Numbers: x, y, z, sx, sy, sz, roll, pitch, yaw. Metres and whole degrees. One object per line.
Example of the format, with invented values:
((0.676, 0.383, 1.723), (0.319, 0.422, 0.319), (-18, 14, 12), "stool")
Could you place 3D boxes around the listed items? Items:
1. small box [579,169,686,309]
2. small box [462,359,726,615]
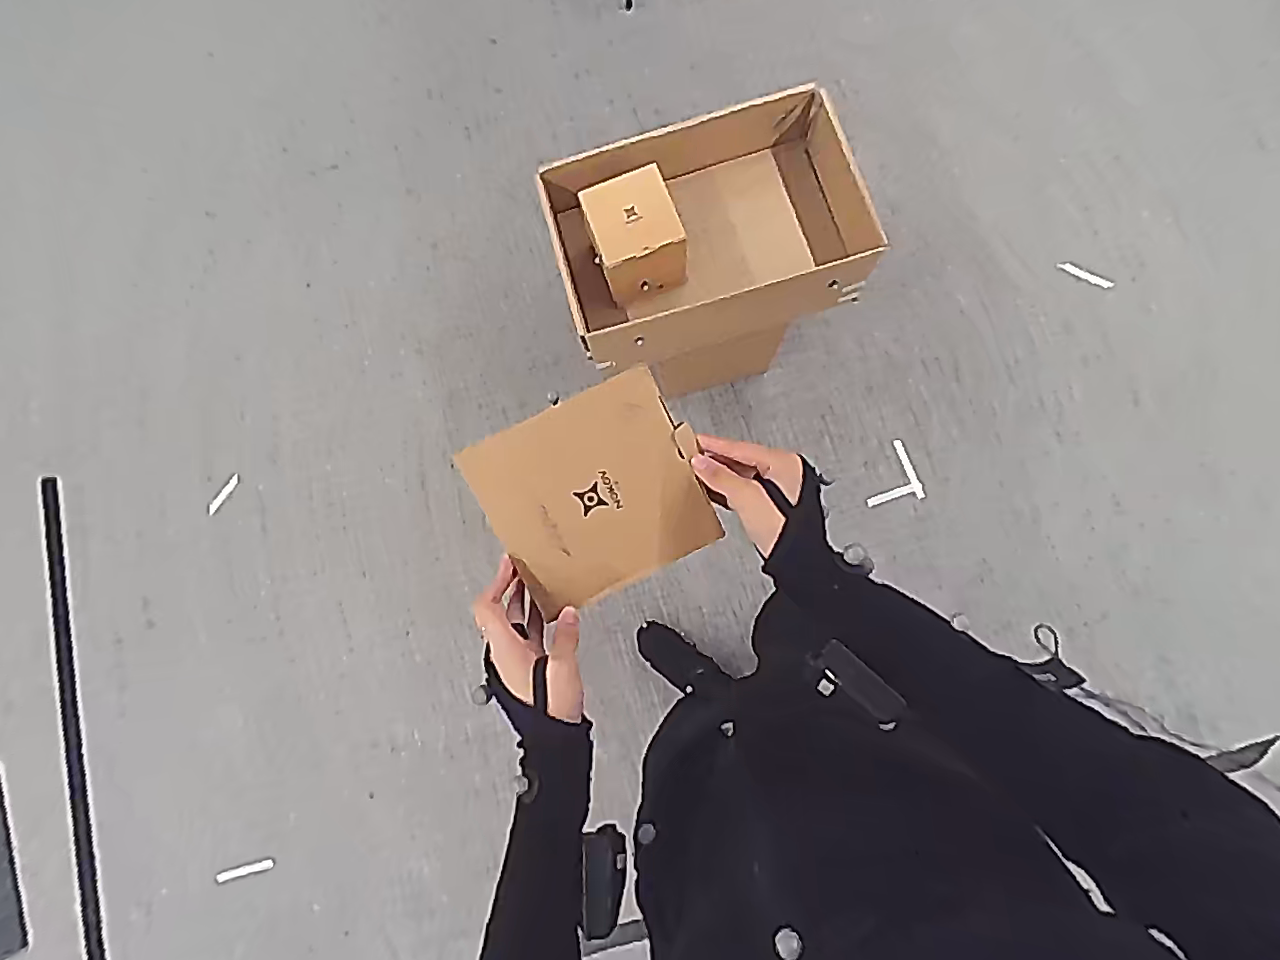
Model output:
((-0.012, -0.491, 1.124), (0.168, 0.176, 0.179), (-22, 80, 0), "small box")
((-0.043, -0.003, 0.529), (0.179, 0.176, 0.168), (-26, 99, -2), "small box")
